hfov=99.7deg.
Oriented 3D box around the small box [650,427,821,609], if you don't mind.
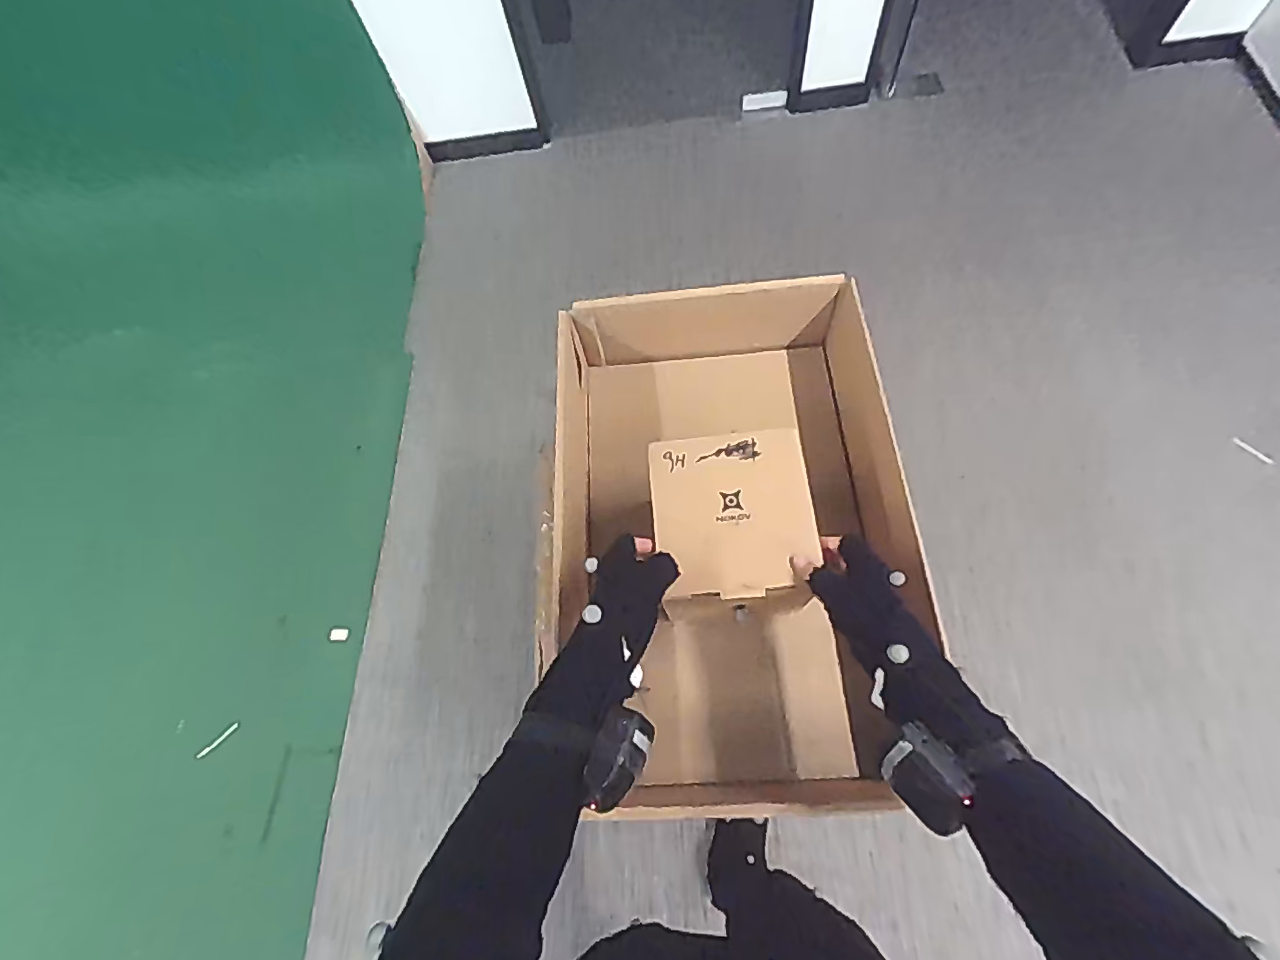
[{"bbox_3d":[0.103,0.056,0.641,0.168,0.176,0.179,-5,69,4],"label":"small box"}]
